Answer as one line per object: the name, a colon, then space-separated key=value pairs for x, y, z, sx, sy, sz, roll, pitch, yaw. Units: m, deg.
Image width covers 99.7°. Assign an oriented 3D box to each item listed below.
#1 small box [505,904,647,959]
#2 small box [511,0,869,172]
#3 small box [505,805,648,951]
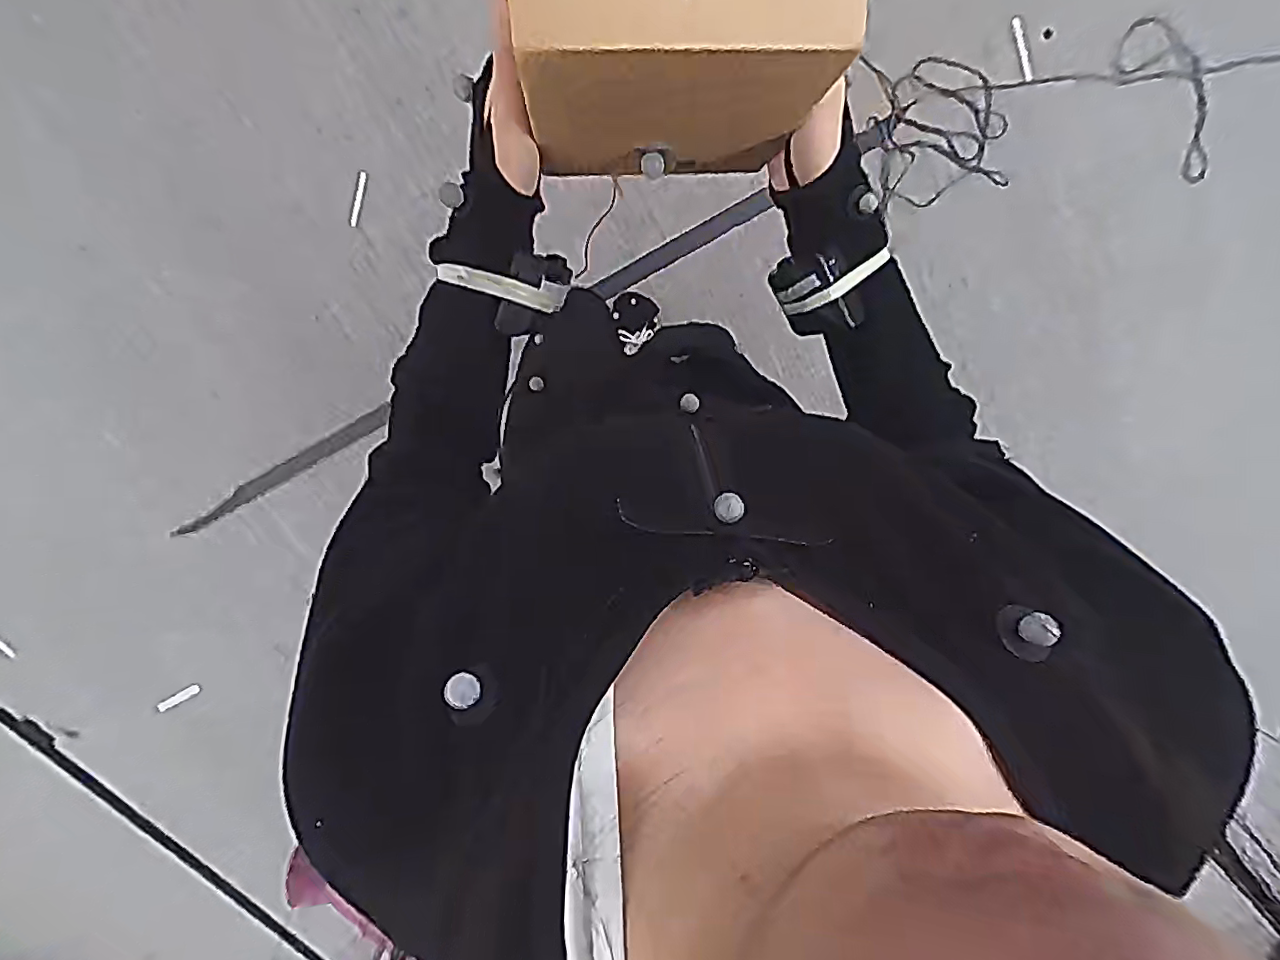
small box: x=-0.088 y=0.745 z=0.760 sx=0.168 sy=0.176 sz=0.179 roll=-28 pitch=109 yaw=4
small box: x=0.013 y=-0.299 z=0.305 sx=0.168 sy=0.176 sz=0.179 roll=-4 pitch=103 yaw=-4
small box: x=-0.105 y=0.688 z=0.913 sx=0.168 sy=0.176 sz=0.179 roll=-29 pitch=110 yaw=4
